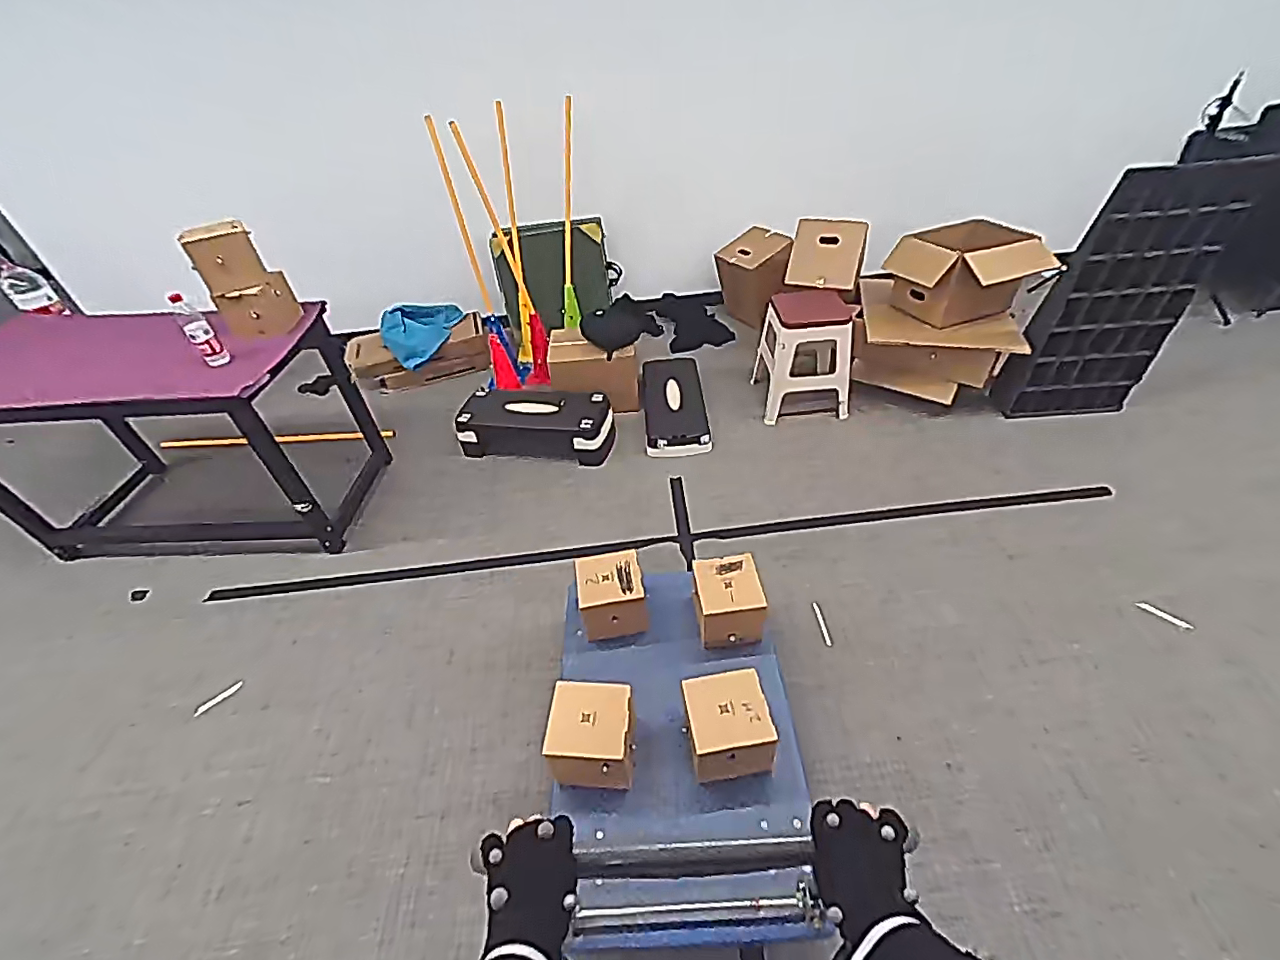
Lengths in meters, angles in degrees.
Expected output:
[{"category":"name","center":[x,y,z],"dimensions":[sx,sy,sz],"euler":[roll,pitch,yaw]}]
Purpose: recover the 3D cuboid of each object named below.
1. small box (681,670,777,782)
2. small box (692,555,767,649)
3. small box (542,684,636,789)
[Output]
[{"category":"small box","center":[0.196,0.558,1.221],"dimensions":[0.179,0.176,0.168],"euler":[-9,43,-3]},{"category":"small box","center":[0.235,0.330,1.466],"dimensions":[0.168,0.176,0.179],"euler":[-8,43,-1]},{"category":"small box","center":[-0.108,0.584,1.228],"dimensions":[0.179,0.176,0.168],"euler":[1,42,5]}]
